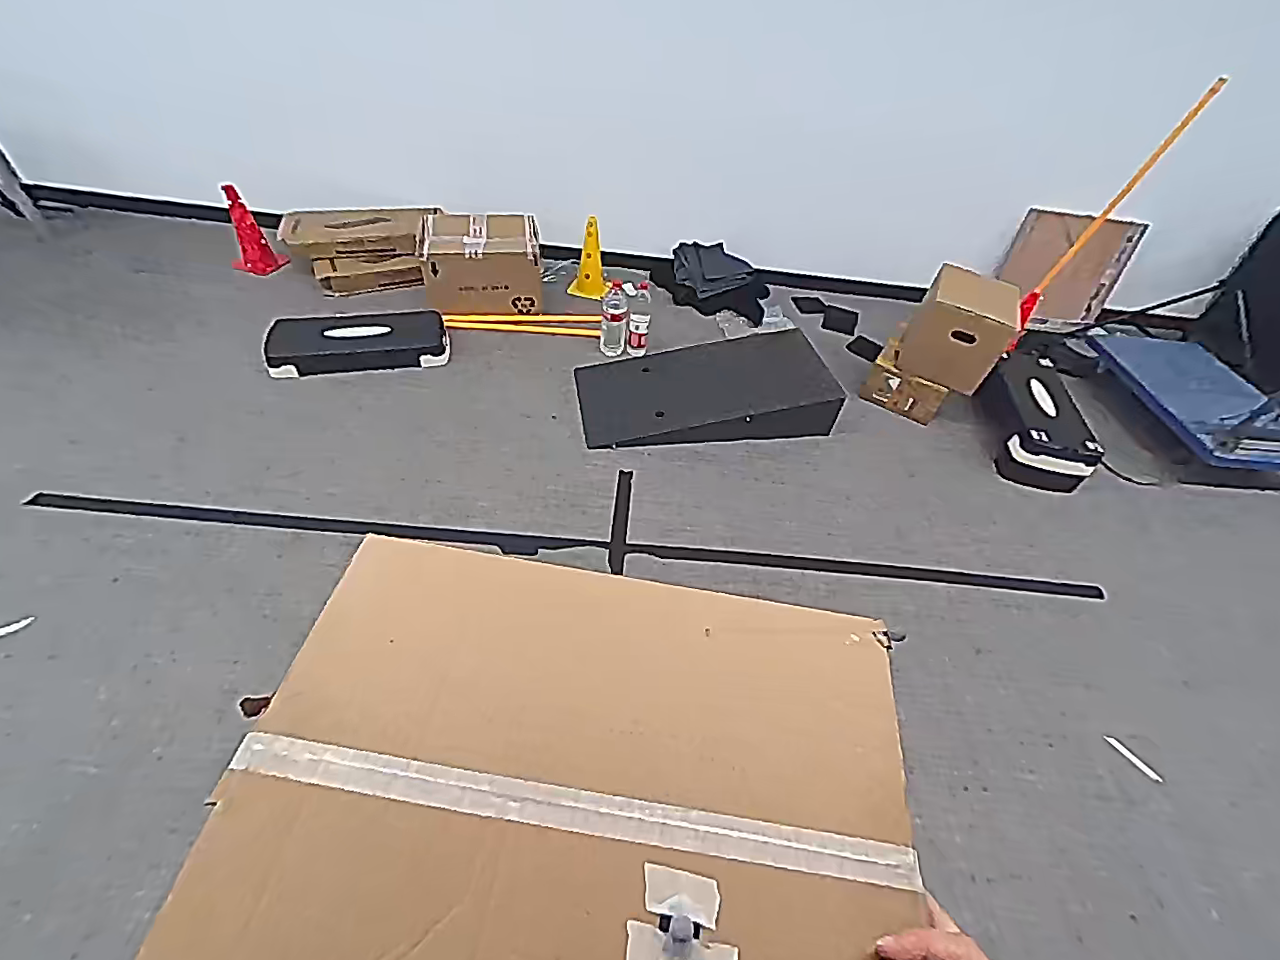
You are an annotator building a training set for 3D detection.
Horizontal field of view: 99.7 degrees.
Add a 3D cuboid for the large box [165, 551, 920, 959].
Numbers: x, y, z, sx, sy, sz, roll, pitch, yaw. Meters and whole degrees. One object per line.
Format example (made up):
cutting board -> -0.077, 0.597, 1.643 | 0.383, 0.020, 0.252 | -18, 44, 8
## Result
large box -> -0.048, 0.292, 0.447 | 0.408, 0.320, 0.320 | 9, 53, 1
